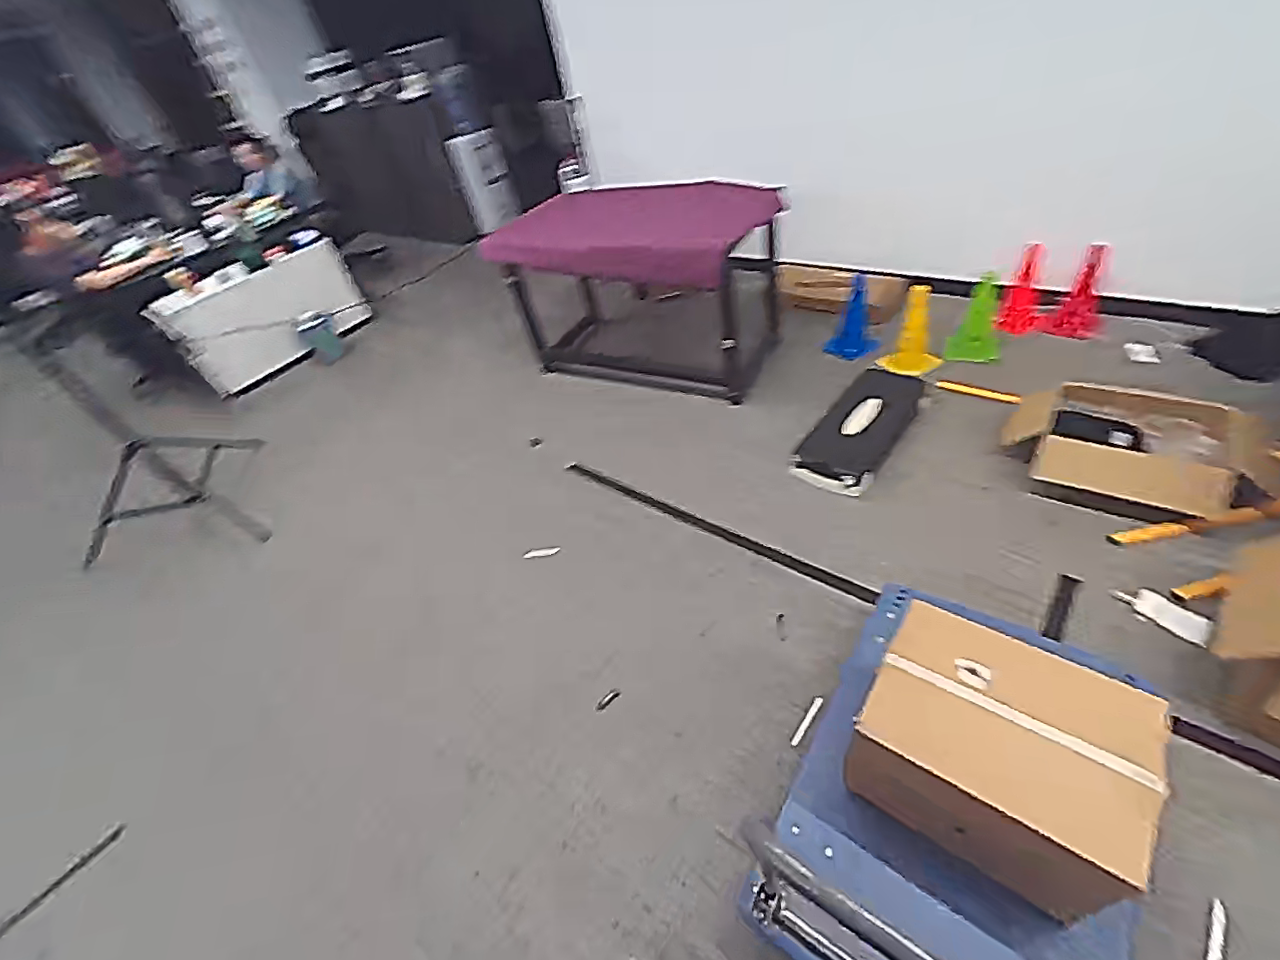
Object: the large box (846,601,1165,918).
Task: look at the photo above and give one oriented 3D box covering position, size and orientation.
[{"bbox_3d":[0.647,0.504,1.012,0.408,0.320,0.320,21,53,34],"label":"large box"}]
